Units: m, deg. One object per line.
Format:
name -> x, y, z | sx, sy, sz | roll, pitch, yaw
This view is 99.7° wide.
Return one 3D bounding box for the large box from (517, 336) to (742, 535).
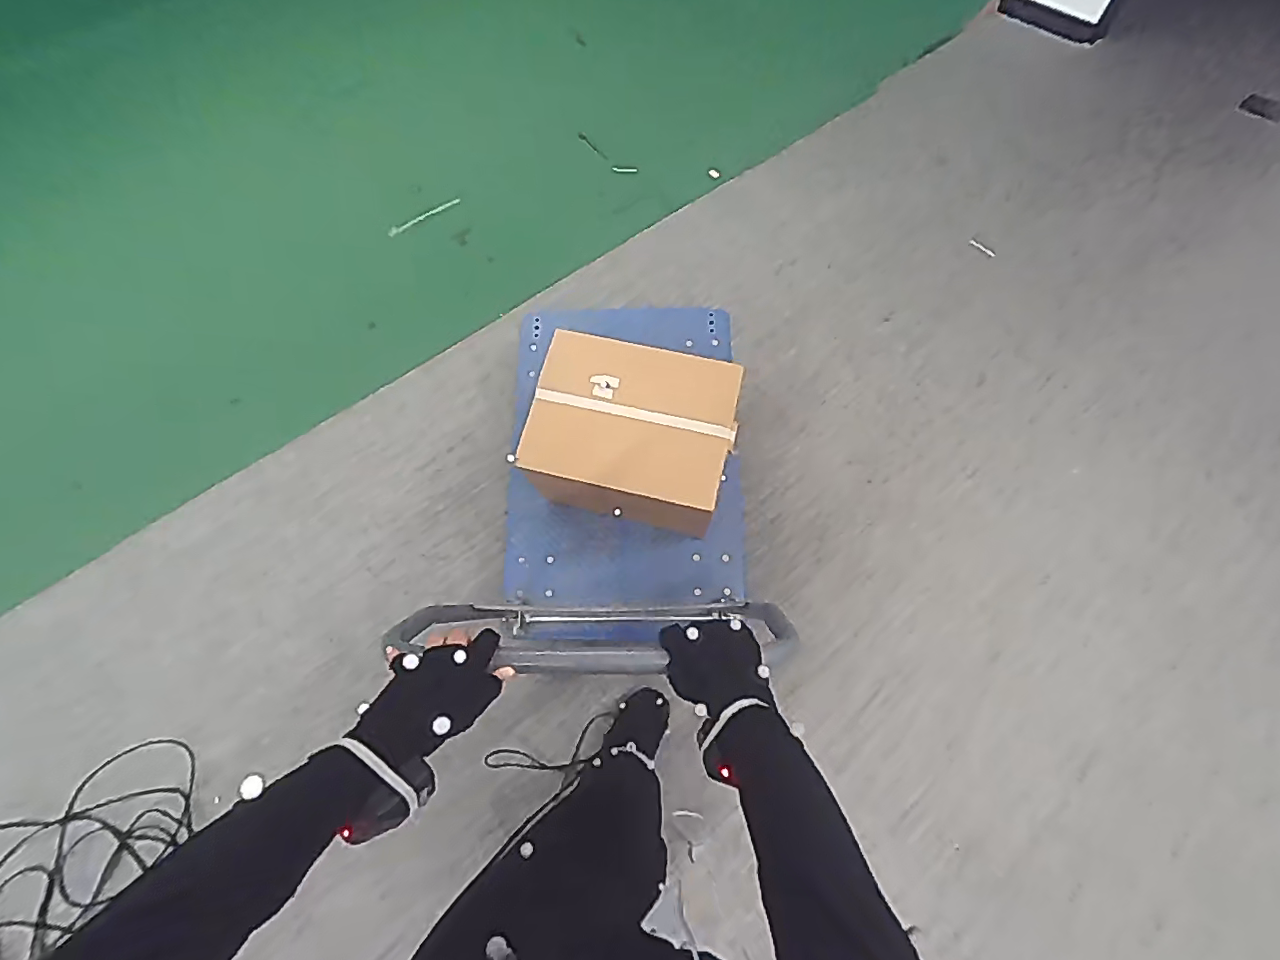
large box -> -0.006, -0.084, 1.221 | 0.408, 0.320, 0.320 | 13, 75, 7
